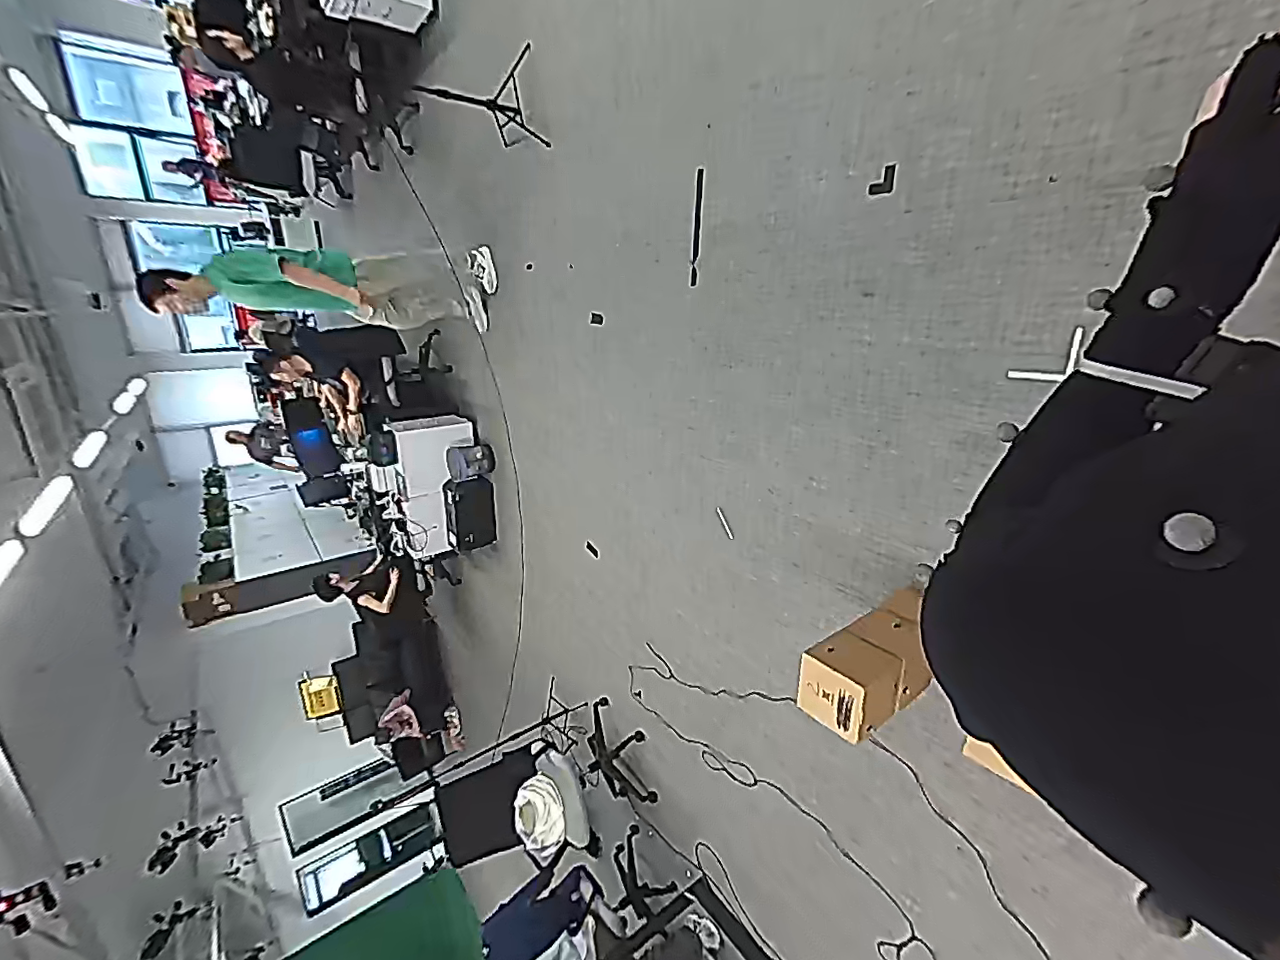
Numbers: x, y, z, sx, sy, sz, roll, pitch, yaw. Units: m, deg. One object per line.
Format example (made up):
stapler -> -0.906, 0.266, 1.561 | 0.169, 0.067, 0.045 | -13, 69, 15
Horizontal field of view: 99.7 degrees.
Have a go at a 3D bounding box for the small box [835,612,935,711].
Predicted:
small box -> 0.654, 0.475, 1.452 | 0.179, 0.176, 0.168 | 22, 119, 50

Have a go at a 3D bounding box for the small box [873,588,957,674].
small box -> 0.781, 0.439, 1.551 | 0.168, 0.176, 0.179 | 21, 118, 49
